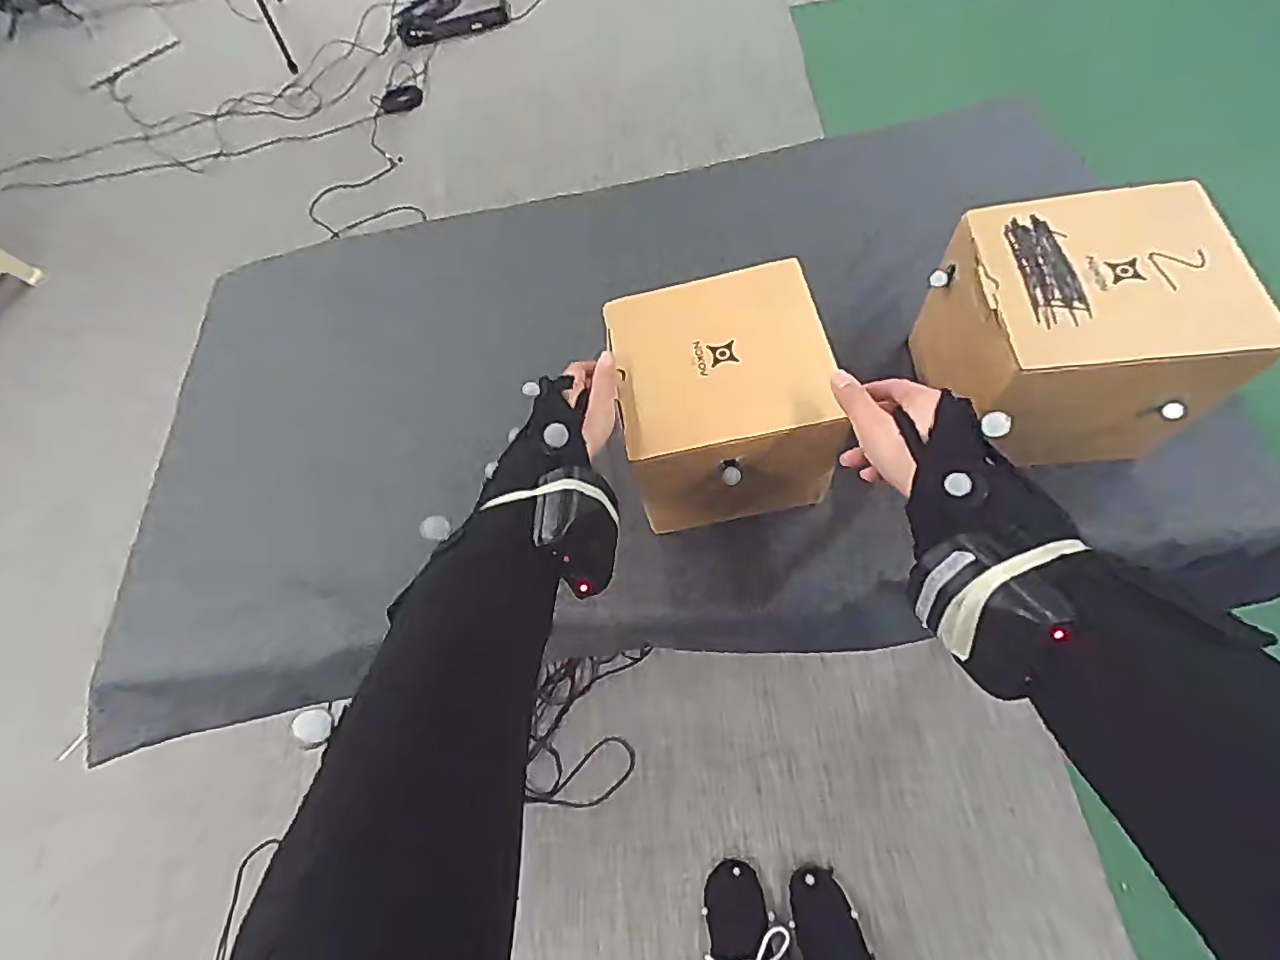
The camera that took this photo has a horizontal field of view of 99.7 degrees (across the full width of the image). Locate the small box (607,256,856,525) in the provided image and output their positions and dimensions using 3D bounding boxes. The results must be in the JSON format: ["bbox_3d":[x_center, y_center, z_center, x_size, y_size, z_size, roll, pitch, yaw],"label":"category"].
[{"bbox_3d":[0.078,-0.071,0.509,0.179,0.176,0.168,-12,64,6],"label":"small box"}]
